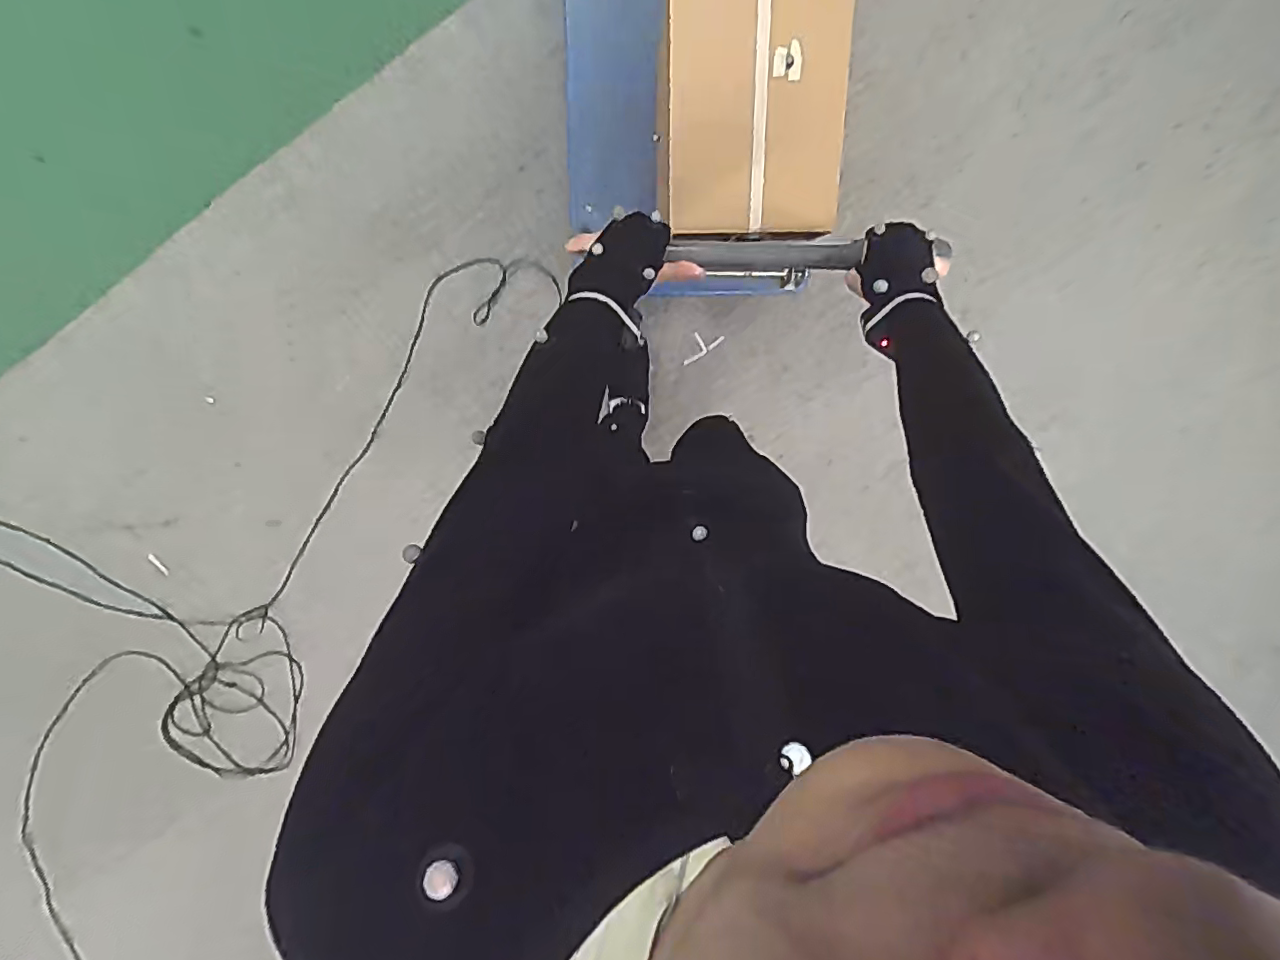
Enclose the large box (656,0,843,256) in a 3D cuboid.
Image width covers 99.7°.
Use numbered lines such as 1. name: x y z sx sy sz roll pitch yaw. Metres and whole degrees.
1. large box: 0.197 -0.697 1.111 0.320 0.320 0.408 -2 106 -3
